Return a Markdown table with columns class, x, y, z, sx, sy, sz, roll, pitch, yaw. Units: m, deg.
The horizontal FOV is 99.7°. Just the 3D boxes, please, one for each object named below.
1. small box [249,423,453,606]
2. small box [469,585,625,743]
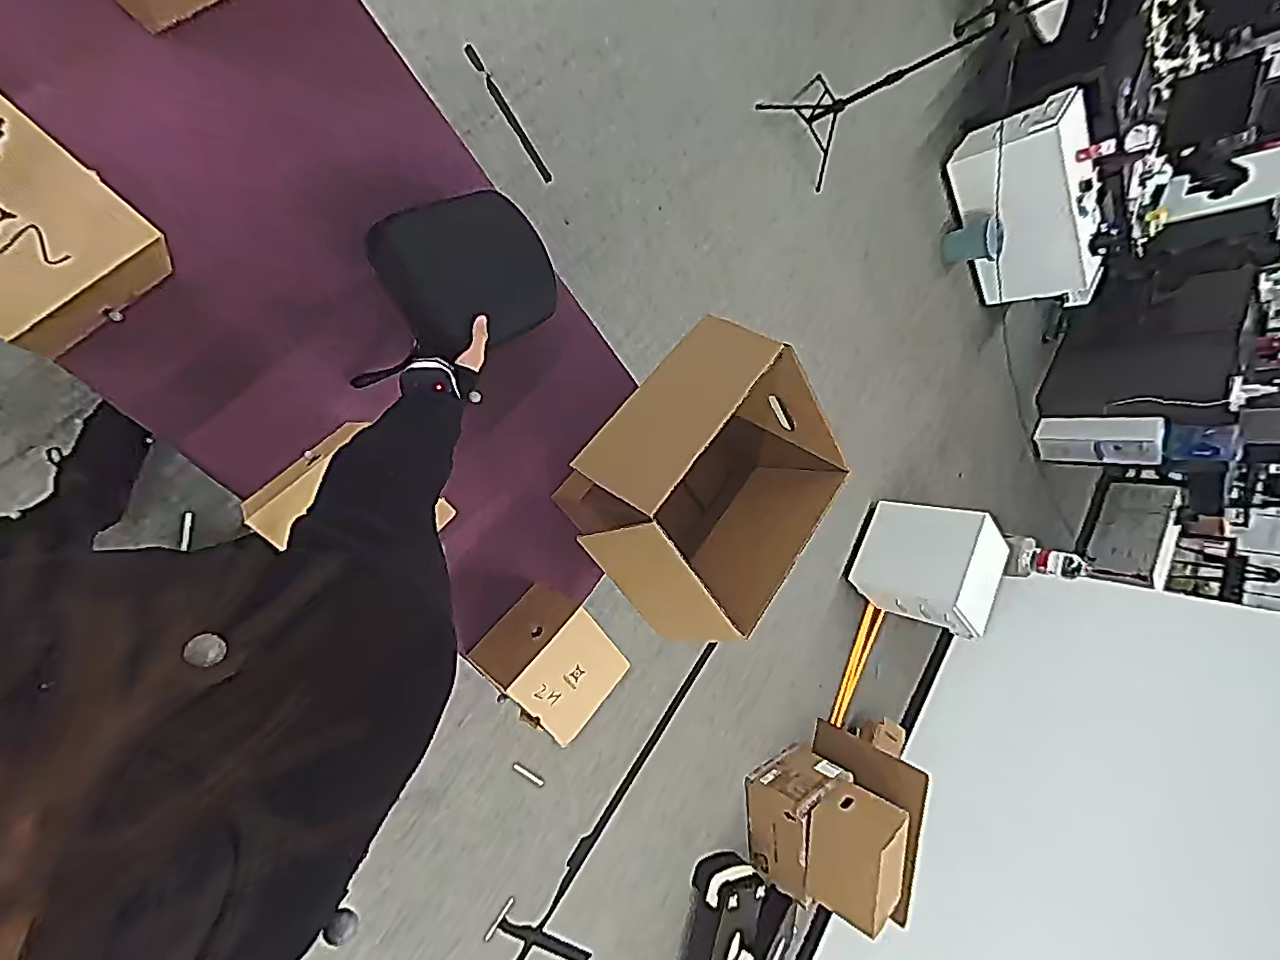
| class | x | y | z | sx | sy | sz | roll | pitch | yaw |
| --- | --- | --- | --- | --- | --- | --- | --- | --- | --- |
| small box | -0.399 | 0.036 | 0.740 | 0.179 | 0.176 | 0.168 | -48 | 120 | -23 |
| small box | -0.165 | 0.310 | 0.949 | 0.179 | 0.176 | 0.168 | -46 | 119 | -26 |
